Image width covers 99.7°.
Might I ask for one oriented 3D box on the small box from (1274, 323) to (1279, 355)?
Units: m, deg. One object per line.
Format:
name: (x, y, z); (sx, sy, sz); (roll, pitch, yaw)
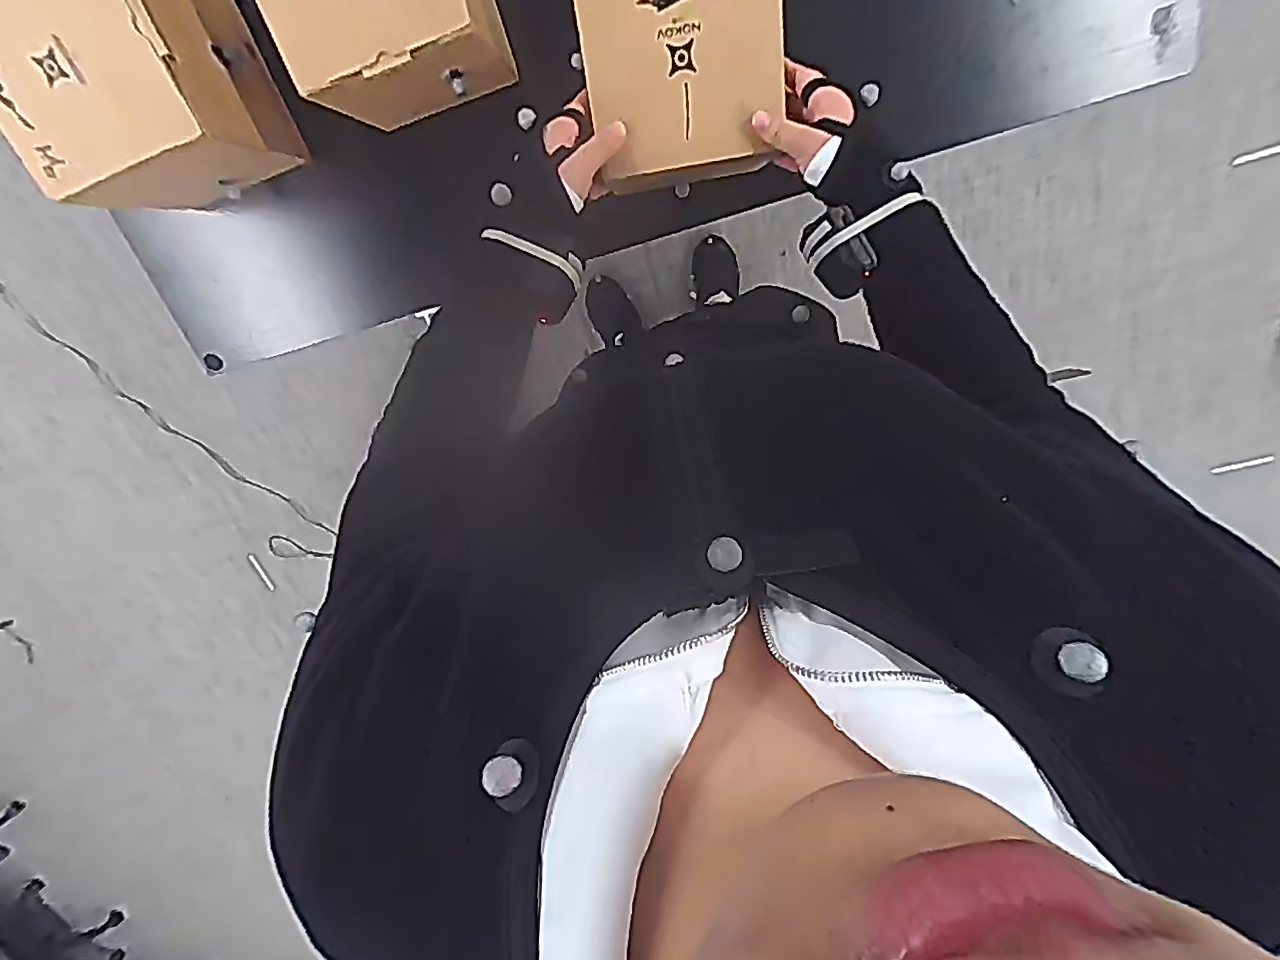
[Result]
small box: (1.680, -0.380, 1.277); (0.168, 0.176, 0.179); (-13, 114, 8)

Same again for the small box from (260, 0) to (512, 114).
small box: (-0.233, -0.460, 0.490); (0.168, 0.176, 0.179); (-15, 112, 7)

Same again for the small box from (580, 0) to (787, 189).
small box: (0.037, -0.390, 0.513); (0.168, 0.176, 0.179); (-7, 115, 5)

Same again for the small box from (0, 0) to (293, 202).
small box: (-0.483, -0.388, 0.526); (0.179, 0.176, 0.168); (-17, 113, 7)
